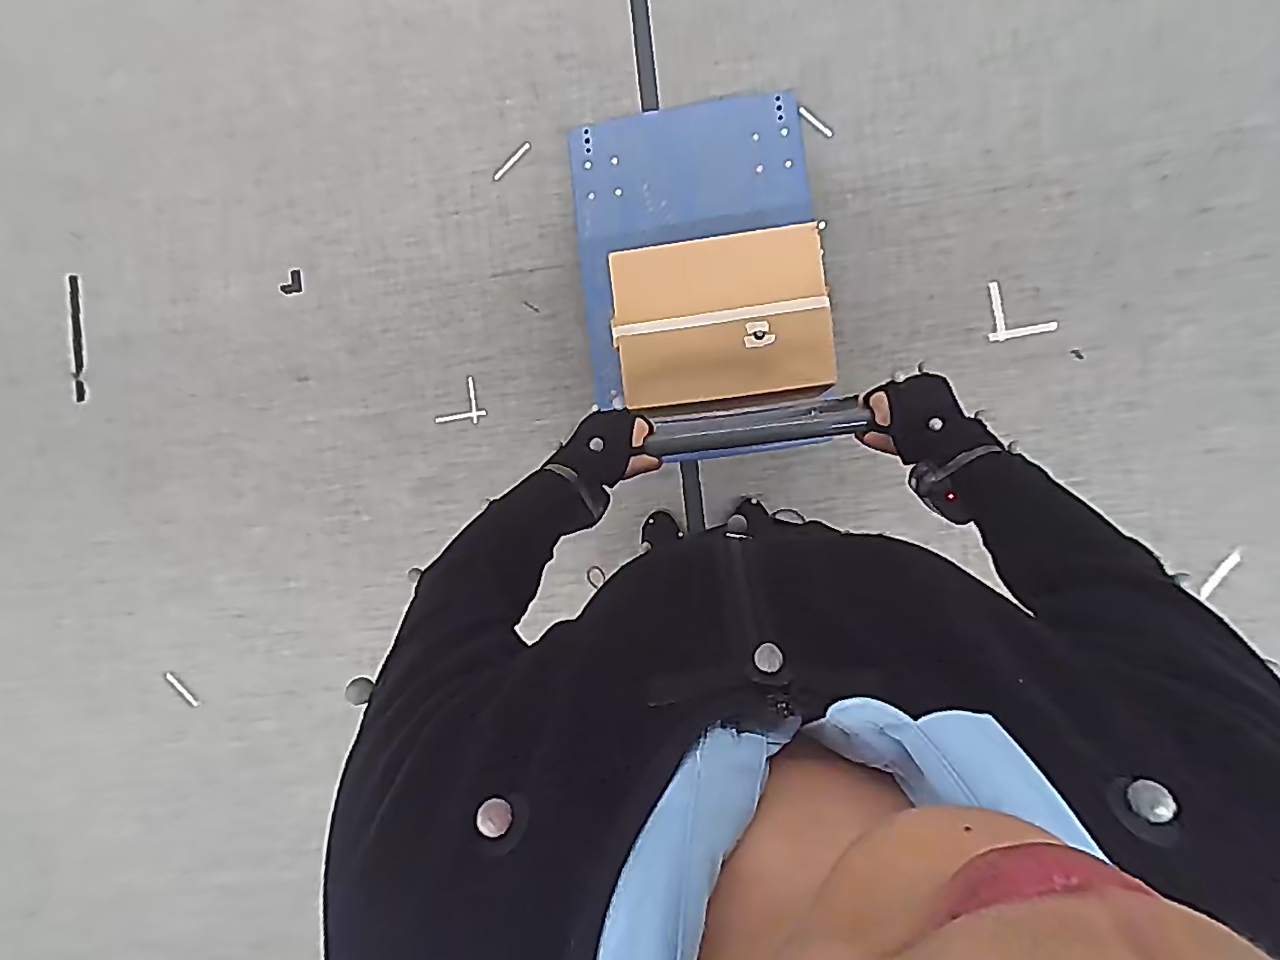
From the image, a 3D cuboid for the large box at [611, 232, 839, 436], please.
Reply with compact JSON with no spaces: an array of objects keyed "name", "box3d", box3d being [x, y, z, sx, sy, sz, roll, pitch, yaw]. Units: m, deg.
[{"name":"large box","box3d":[0.167,-0.286,1.172,0.408,0.320,0.320,-7,89,4]}]
